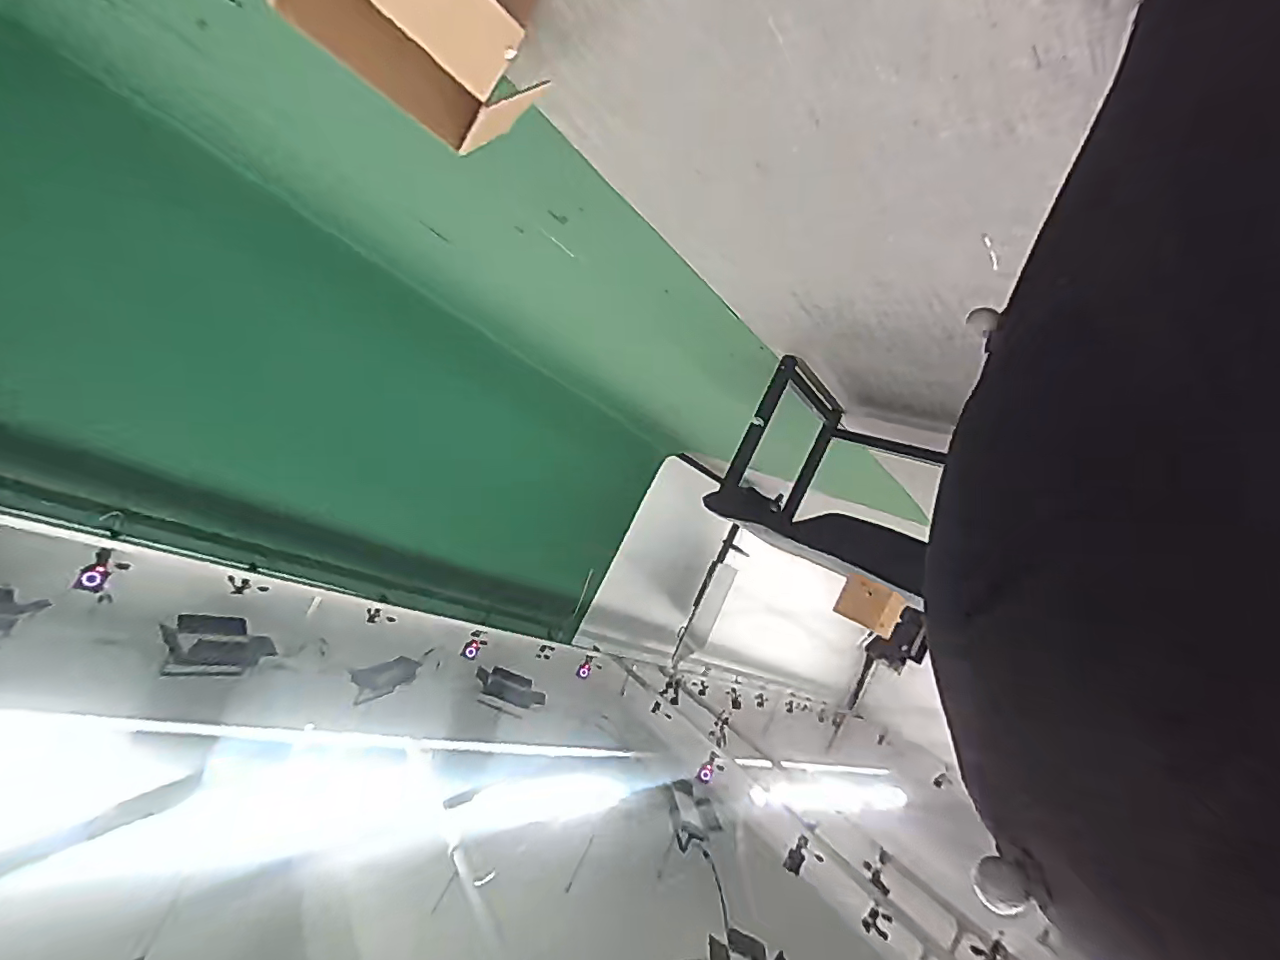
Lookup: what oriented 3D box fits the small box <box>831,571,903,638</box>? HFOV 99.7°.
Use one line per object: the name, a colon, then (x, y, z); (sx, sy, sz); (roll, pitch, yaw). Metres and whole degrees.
small box: (0.844, 0.459, 1.997); (0.168, 0.176, 0.179); (23, 175, 46)
